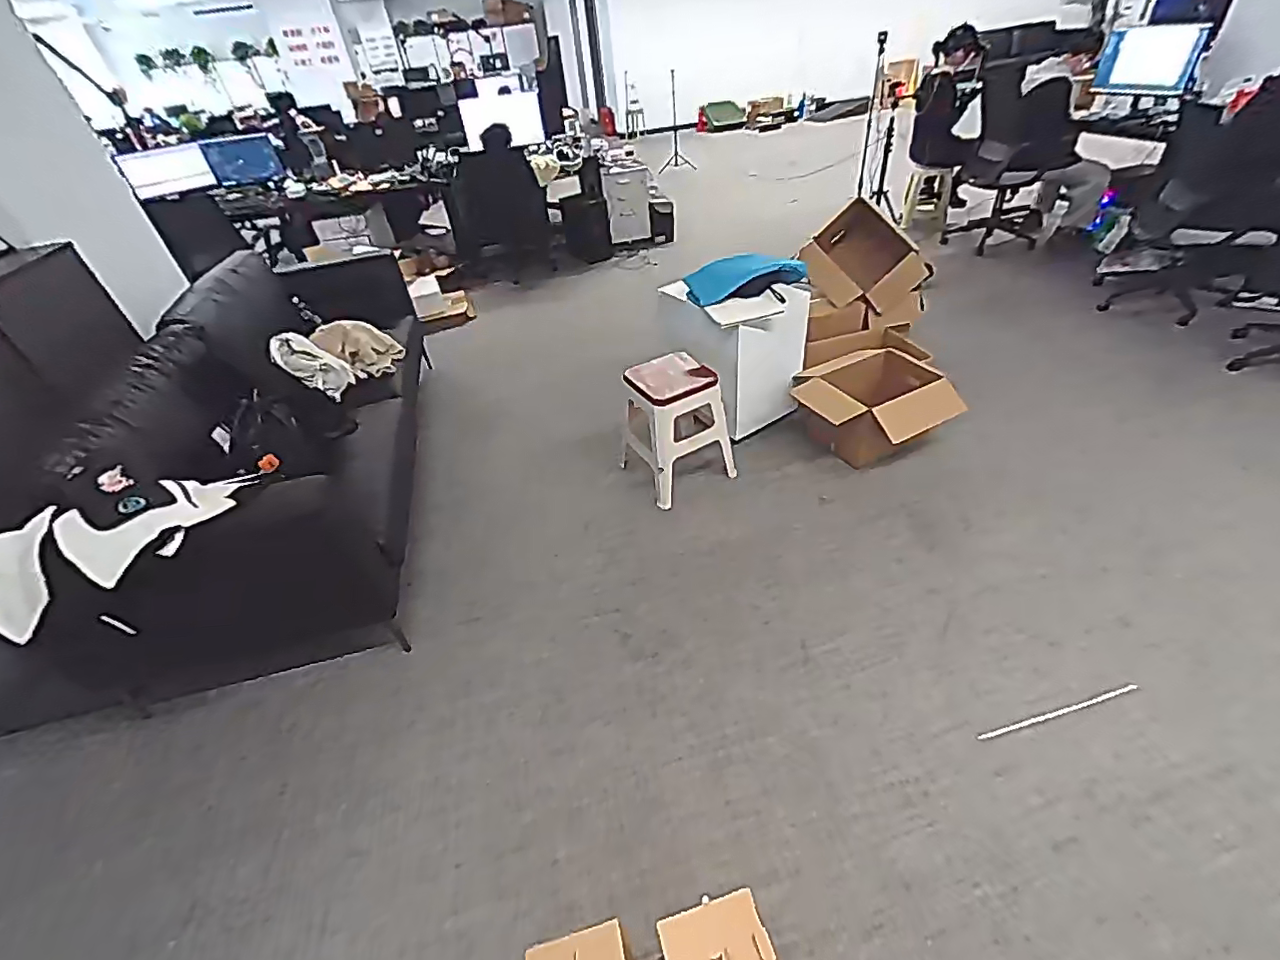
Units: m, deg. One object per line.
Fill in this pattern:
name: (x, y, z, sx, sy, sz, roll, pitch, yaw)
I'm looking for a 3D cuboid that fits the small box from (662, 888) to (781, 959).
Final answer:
small box: (0.149, 0.847, 0.926, 0.179, 0.176, 0.168, -15, 40, -9)
